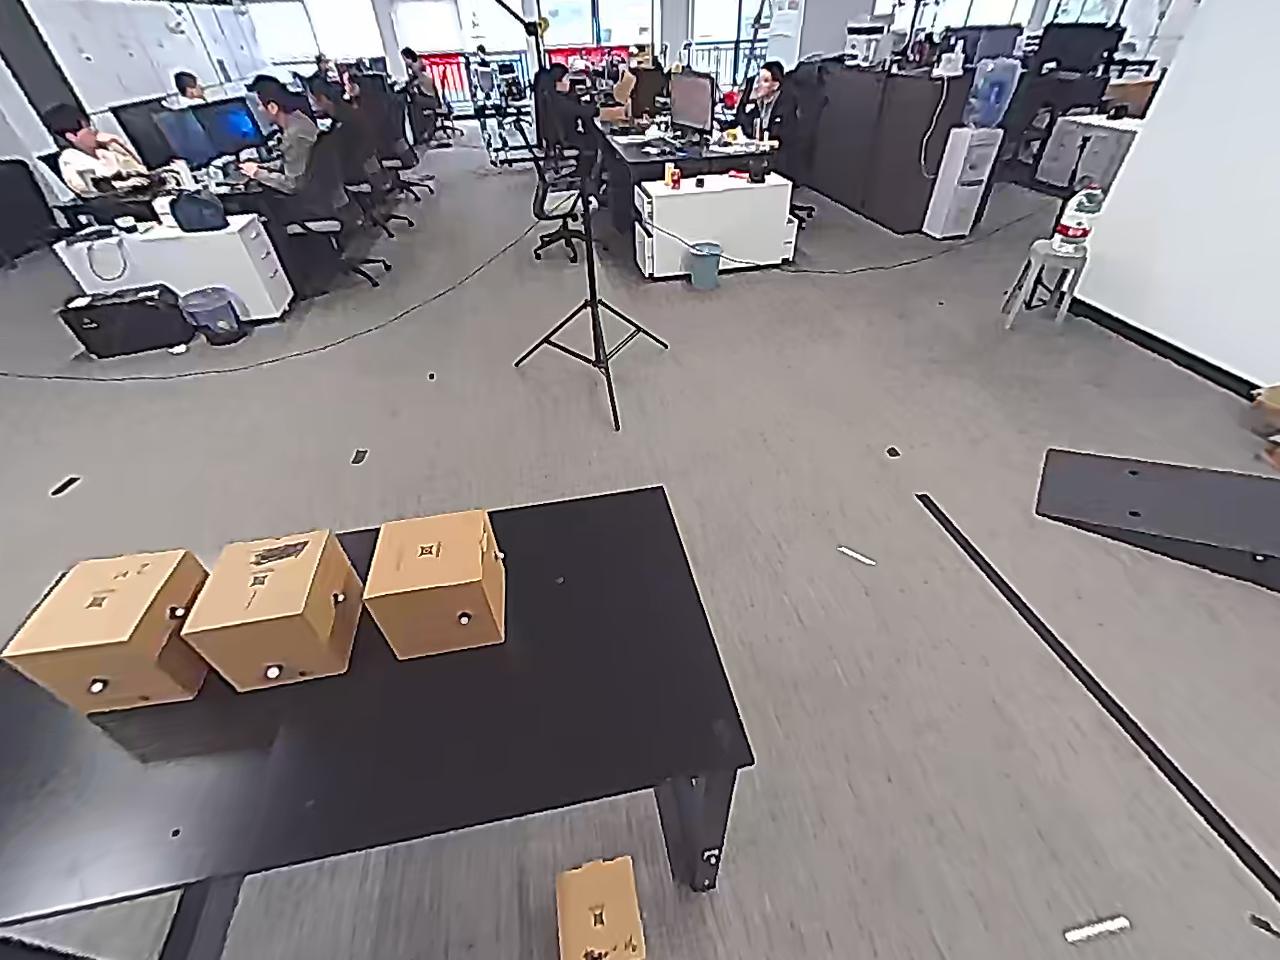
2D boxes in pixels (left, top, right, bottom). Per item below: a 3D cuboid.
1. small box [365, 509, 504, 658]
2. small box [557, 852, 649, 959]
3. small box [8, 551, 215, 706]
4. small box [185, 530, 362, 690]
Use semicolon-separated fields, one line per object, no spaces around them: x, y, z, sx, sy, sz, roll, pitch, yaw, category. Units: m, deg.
-0.333;0.175;0.917;0.179;0.176;0.168;-9;40;-6;small box
-0.078;0.928;1.139;0.168;0.176;0.179;-10;41;-7;small box
-0.798;0.241;0.862;0.168;0.176;0.179;-6;40;-5;small box
-0.577;0.211;0.884;0.168;0.176;0.179;-9;42;-8;small box
